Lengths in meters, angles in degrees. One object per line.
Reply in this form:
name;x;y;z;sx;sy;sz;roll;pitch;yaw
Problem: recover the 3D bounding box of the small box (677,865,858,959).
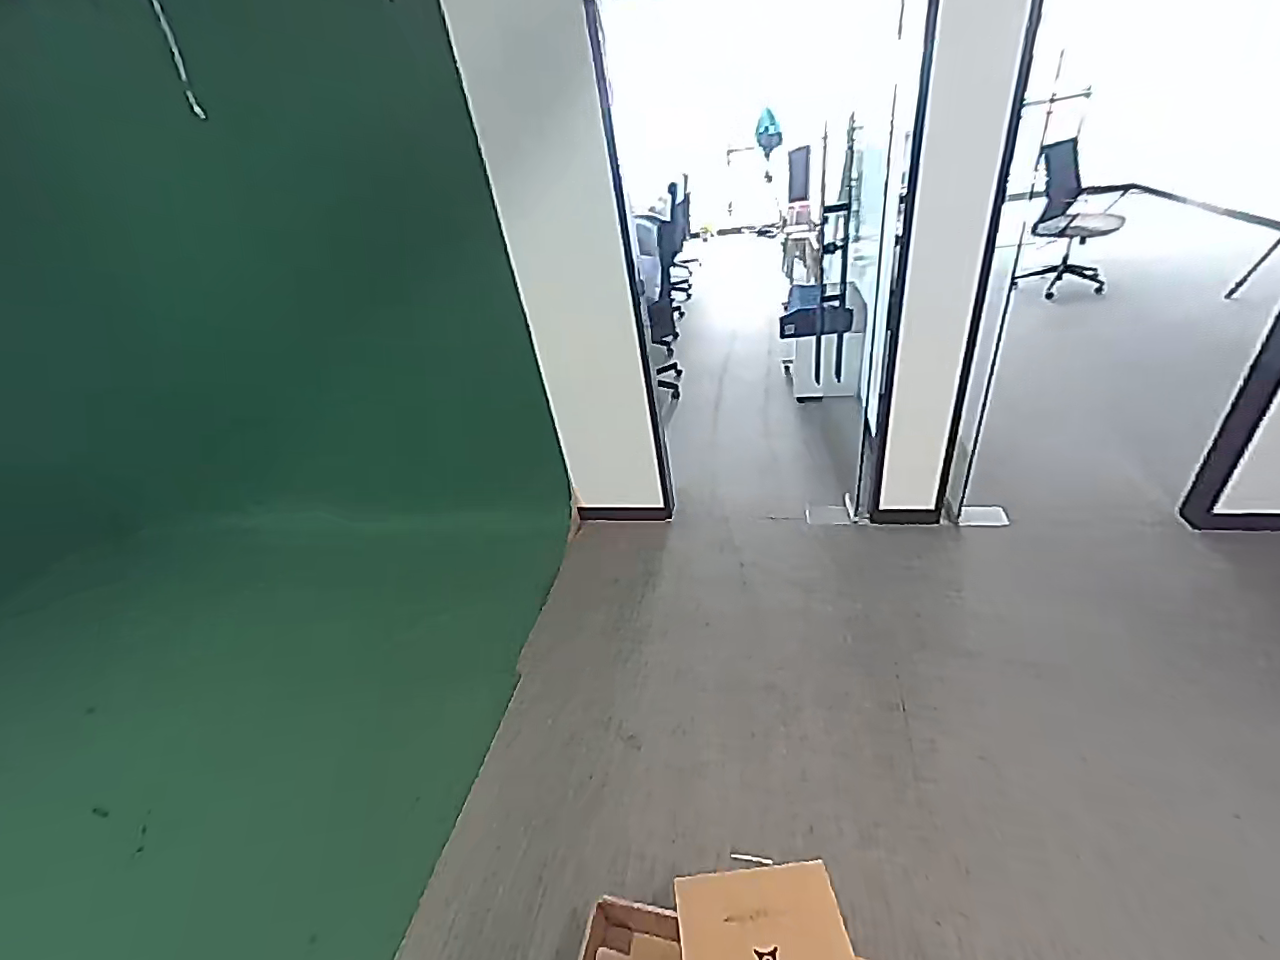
small box;0.131;0.528;0.534;0.168;0.176;0.179;-6;25;0
